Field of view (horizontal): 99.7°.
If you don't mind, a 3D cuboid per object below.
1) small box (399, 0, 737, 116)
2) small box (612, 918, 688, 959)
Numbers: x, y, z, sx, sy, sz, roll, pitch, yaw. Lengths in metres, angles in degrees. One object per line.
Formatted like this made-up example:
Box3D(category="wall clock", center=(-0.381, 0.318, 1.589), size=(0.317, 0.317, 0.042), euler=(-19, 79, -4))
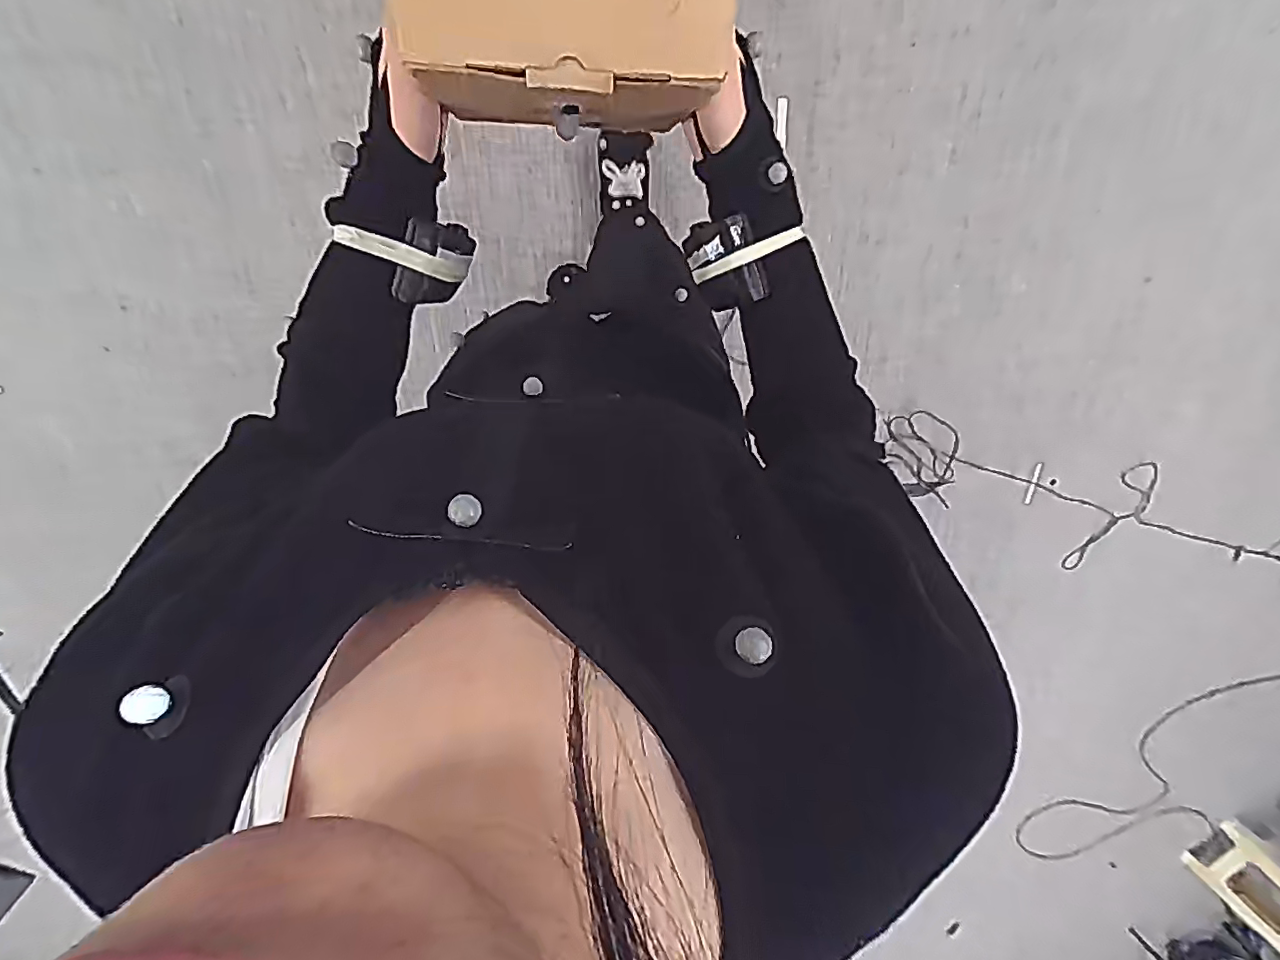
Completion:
Box3D(category="small box", center=(-0.040, -0.321, 0.304), size=(0.168, 0.176, 0.179), euler=(-2, 117, -9))
Box3D(category="small box", center=(0.022, 1.127, 1.221), size=(0.168, 0.176, 0.179), euler=(-2, 117, -4))
